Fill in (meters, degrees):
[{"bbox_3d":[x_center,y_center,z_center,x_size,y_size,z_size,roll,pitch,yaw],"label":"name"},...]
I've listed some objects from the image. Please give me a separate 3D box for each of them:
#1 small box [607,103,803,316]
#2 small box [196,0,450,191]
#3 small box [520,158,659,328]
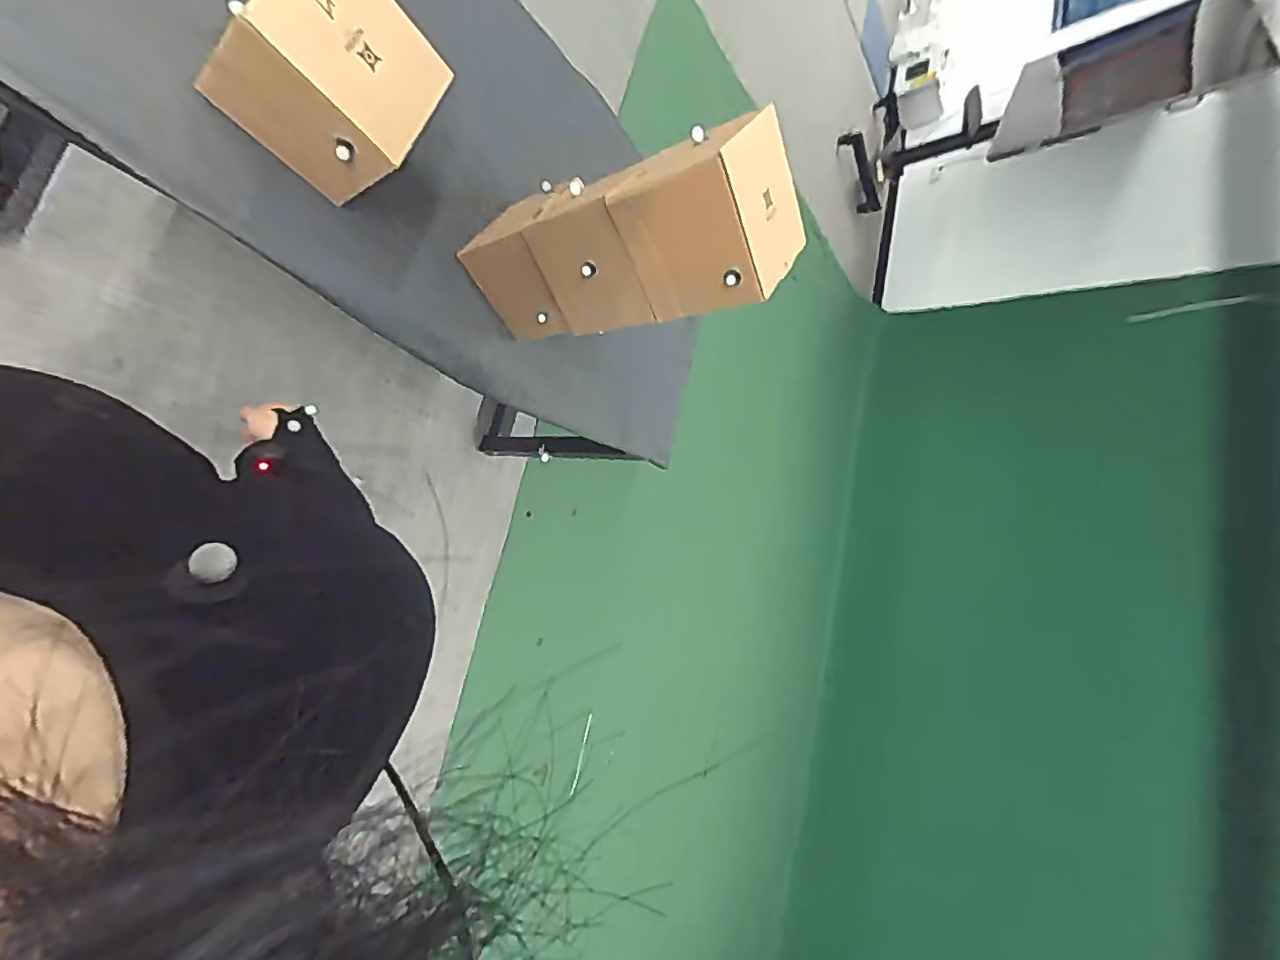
[{"bbox_3d":[0.086,-0.334,0.692,0.168,0.176,0.179,-55,132,-33],"label":"small box"},{"bbox_3d":[-0.371,-0.478,0.643,0.179,0.176,0.168,38,63,-45],"label":"small box"},{"bbox_3d":[-0.039,-0.340,0.798,0.168,0.176,0.179,-53,130,-35],"label":"small box"}]
